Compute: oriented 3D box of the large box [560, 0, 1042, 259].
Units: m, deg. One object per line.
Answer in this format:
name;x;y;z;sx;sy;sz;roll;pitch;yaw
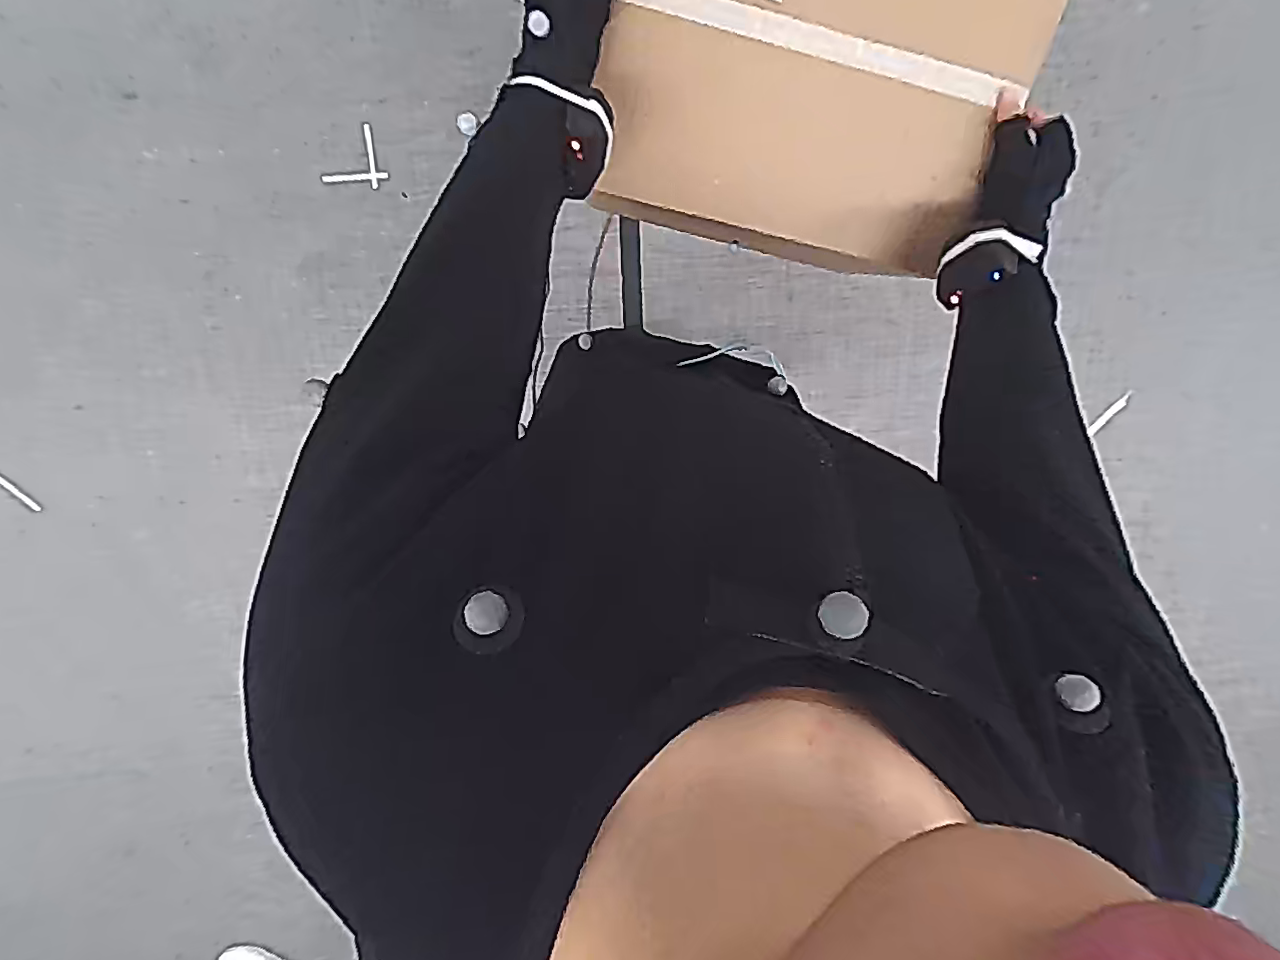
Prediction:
large box;0.147;-0.458;0.622;0.408;0.320;0.320;12;111;-5
